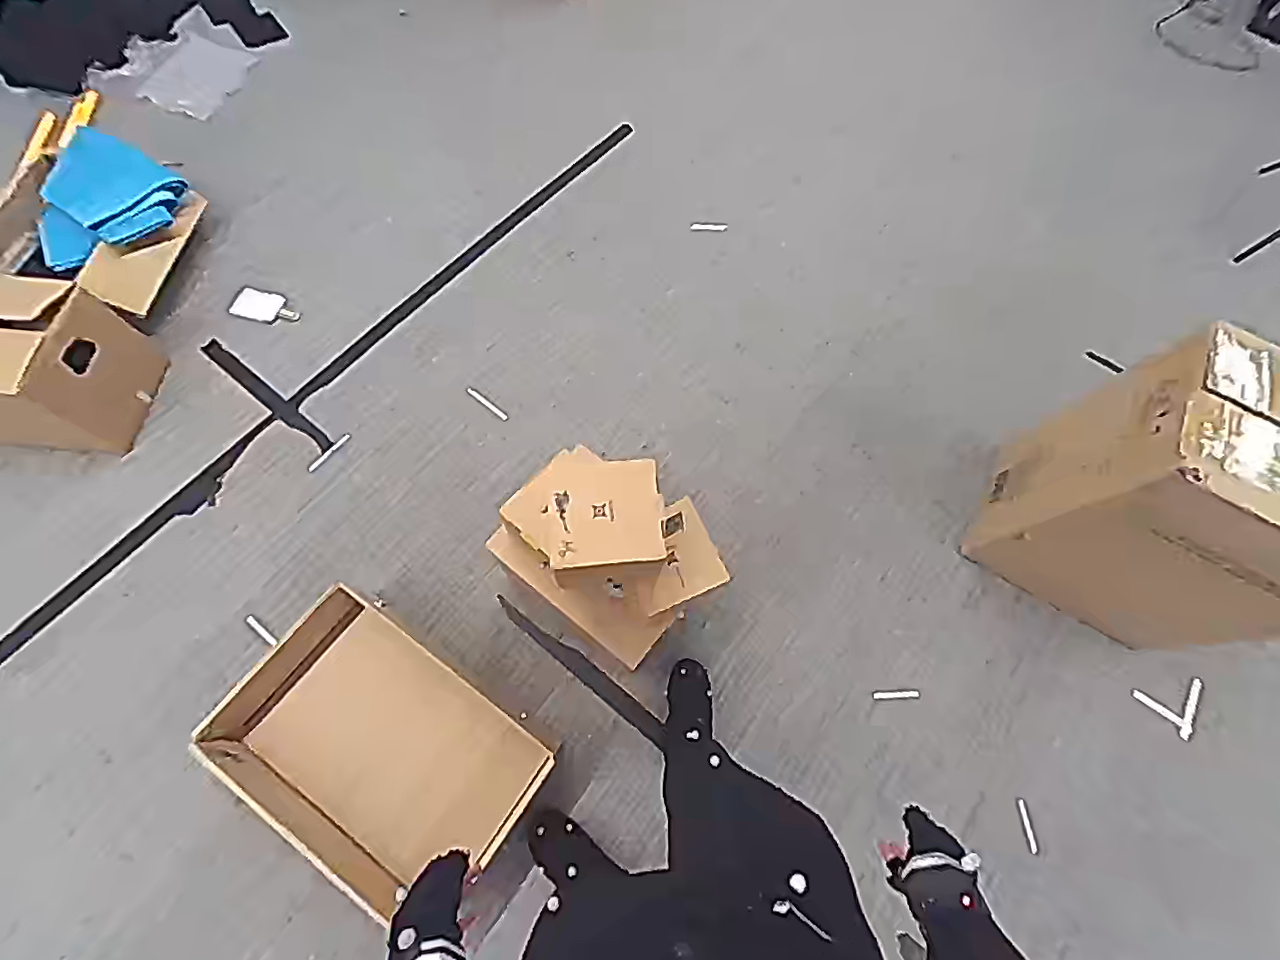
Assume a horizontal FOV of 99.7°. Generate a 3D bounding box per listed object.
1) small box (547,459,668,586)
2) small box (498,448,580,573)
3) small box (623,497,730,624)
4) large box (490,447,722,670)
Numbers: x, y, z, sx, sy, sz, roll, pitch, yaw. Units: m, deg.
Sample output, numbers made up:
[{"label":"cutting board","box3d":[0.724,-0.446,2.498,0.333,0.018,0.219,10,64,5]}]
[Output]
[{"label":"small box","box3d":[-0.058,0.076,0.896,0.179,0.176,0.168,-4,69,-6]},{"label":"small box","box3d":[-0.149,0.075,1.066,0.168,0.176,0.179,40,70,8]},{"label":"small box","box3d":[0.048,0.161,1.046,0.168,0.176,0.179,-21,72,-12]},{"label":"large box","box3d":[-0.084,0.198,1.284,0.408,0.320,0.320,37,71,9]}]
